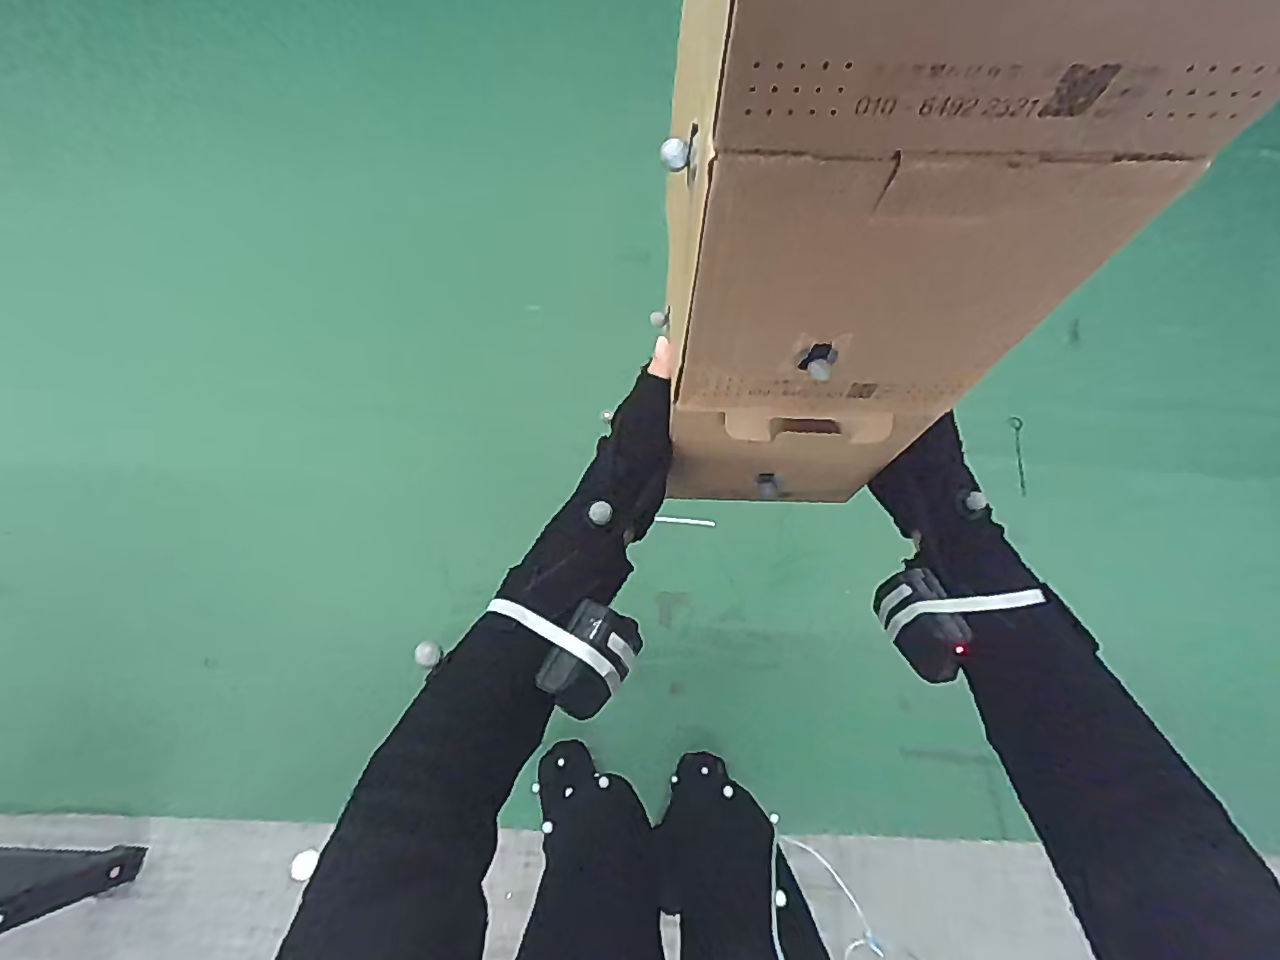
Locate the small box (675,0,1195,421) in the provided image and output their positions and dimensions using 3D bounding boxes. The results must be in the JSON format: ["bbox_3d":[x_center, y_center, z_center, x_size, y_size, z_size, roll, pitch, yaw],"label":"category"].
[{"bbox_3d":[0.108,-0.149,0.290,0.168,0.176,0.179,0,68,-2],"label":"small box"}]

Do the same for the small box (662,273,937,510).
[{"bbox_3d":[0.106,-0.088,0.441,0.168,0.176,0.179,3,68,0],"label":"small box"}]
